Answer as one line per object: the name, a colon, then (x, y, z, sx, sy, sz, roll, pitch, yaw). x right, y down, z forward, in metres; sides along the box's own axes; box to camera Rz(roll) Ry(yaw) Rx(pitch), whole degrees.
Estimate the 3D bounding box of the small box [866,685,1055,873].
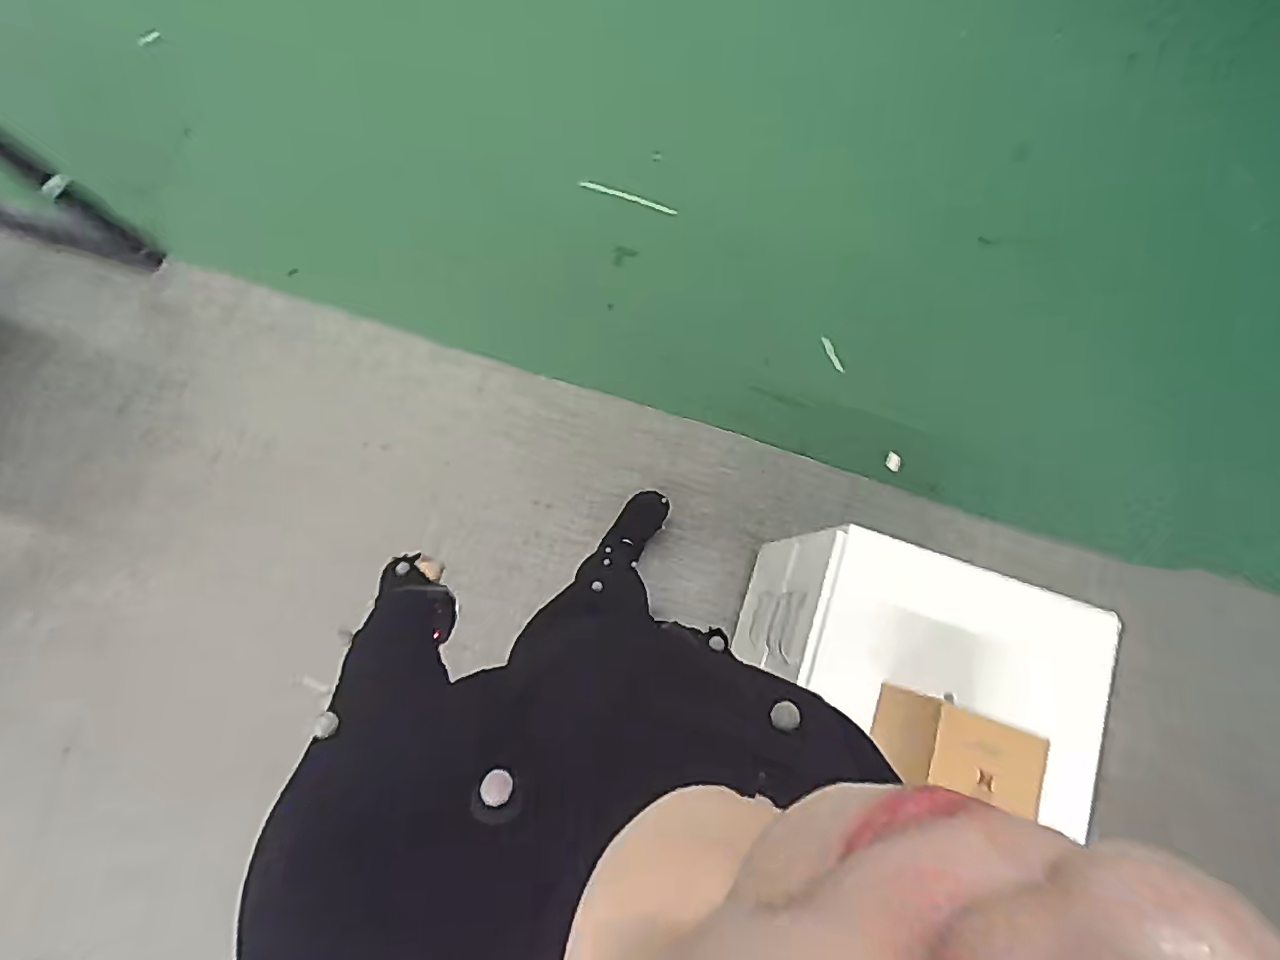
small box: (0.466, 0.430, 0.811, 0.168, 0.176, 0.179, 20, 77, -1)
